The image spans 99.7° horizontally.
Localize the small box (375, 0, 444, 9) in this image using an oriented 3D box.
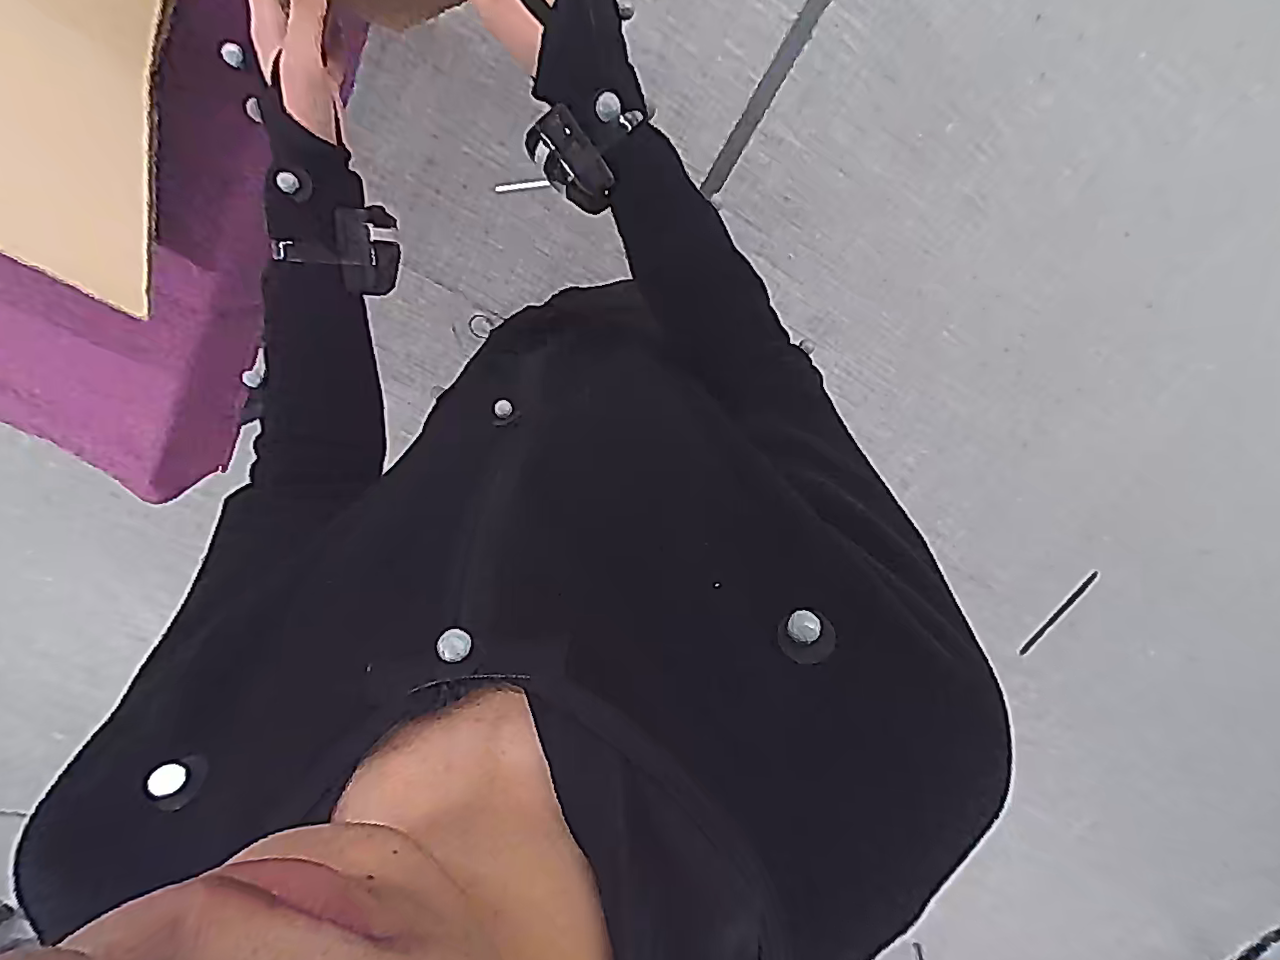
[{"bbox_3d":[-0.165,-0.465,0.371,0.168,0.176,0.179,-13,119,12],"label":"small box"}]
